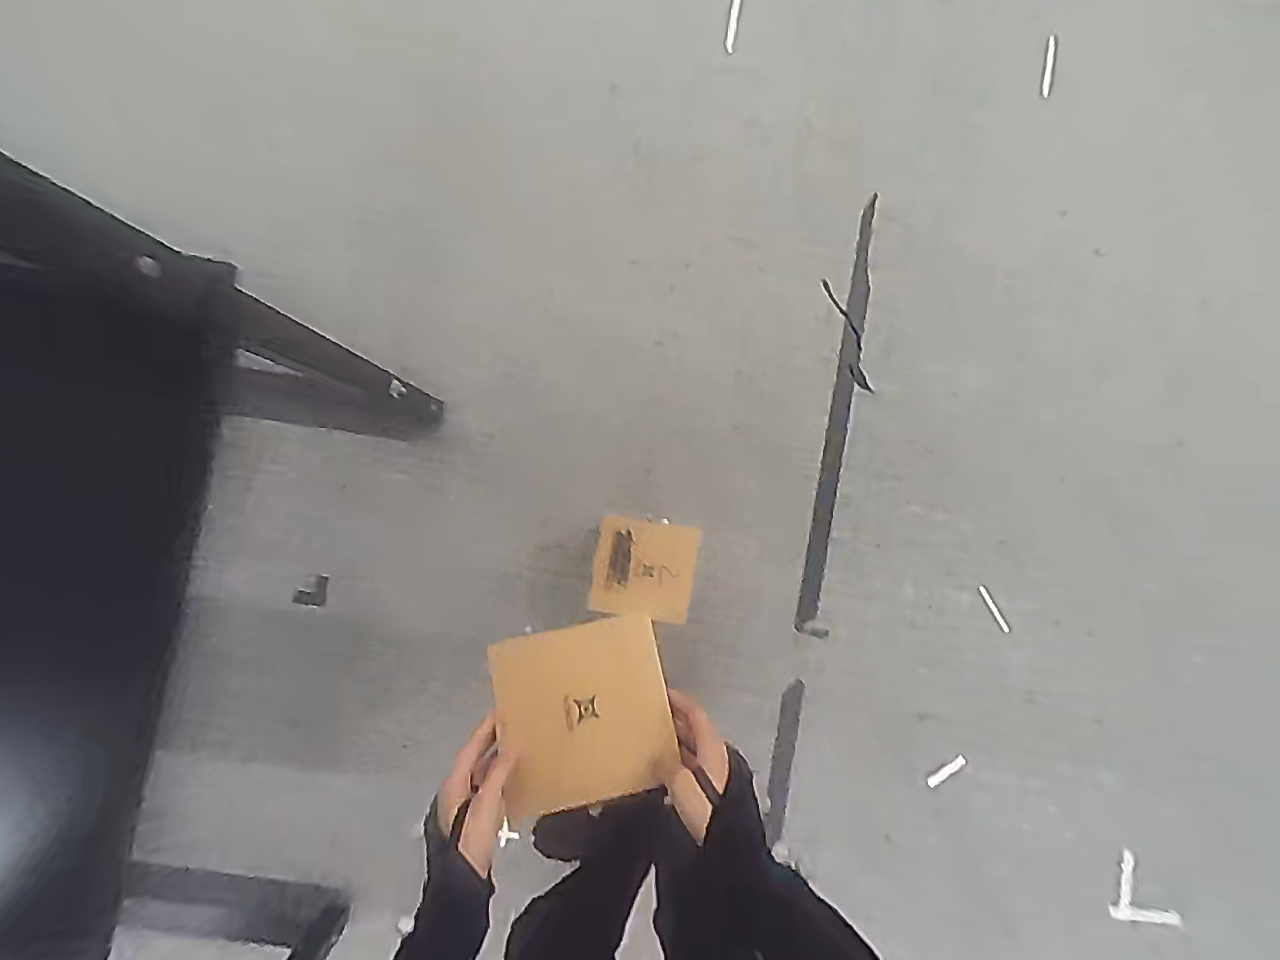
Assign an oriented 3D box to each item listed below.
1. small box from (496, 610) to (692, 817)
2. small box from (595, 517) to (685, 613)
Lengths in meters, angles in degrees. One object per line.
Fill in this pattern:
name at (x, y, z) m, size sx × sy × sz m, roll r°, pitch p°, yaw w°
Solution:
small box at (-0.049, 0.254, 0.615) m, size 0.179 × 0.176 × 0.168 m, roll -12°, pitch 70°, yaw -3°
small box at (-0.003, 0.175, 1.169) m, size 0.168 × 0.176 × 0.179 m, roll 7°, pitch 88°, yaw -2°
